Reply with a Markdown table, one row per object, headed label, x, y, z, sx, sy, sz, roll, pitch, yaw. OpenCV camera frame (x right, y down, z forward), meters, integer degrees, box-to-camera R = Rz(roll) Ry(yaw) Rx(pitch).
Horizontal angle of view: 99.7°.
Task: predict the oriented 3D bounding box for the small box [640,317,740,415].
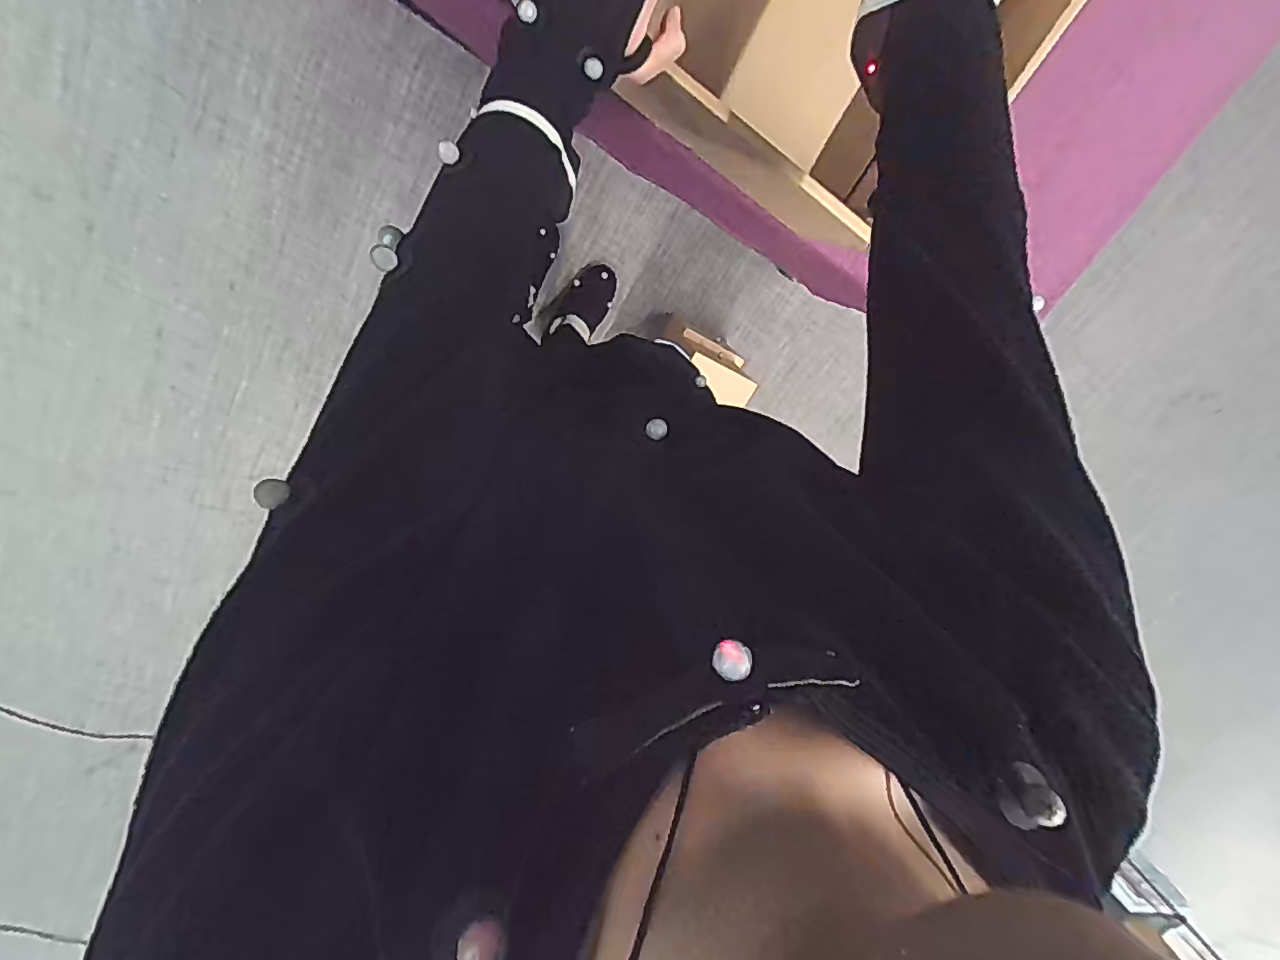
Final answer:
| label | x | y | z | sx | sy | sz | roll | pitch | yaw |
| --- | --- | --- | --- | --- | --- | --- | --- | --- | --- |
| small box | 0.121 | -0.298 | 1.387 | 0.179 | 0.176 | 0.168 | 24 | 112 | -20 |
